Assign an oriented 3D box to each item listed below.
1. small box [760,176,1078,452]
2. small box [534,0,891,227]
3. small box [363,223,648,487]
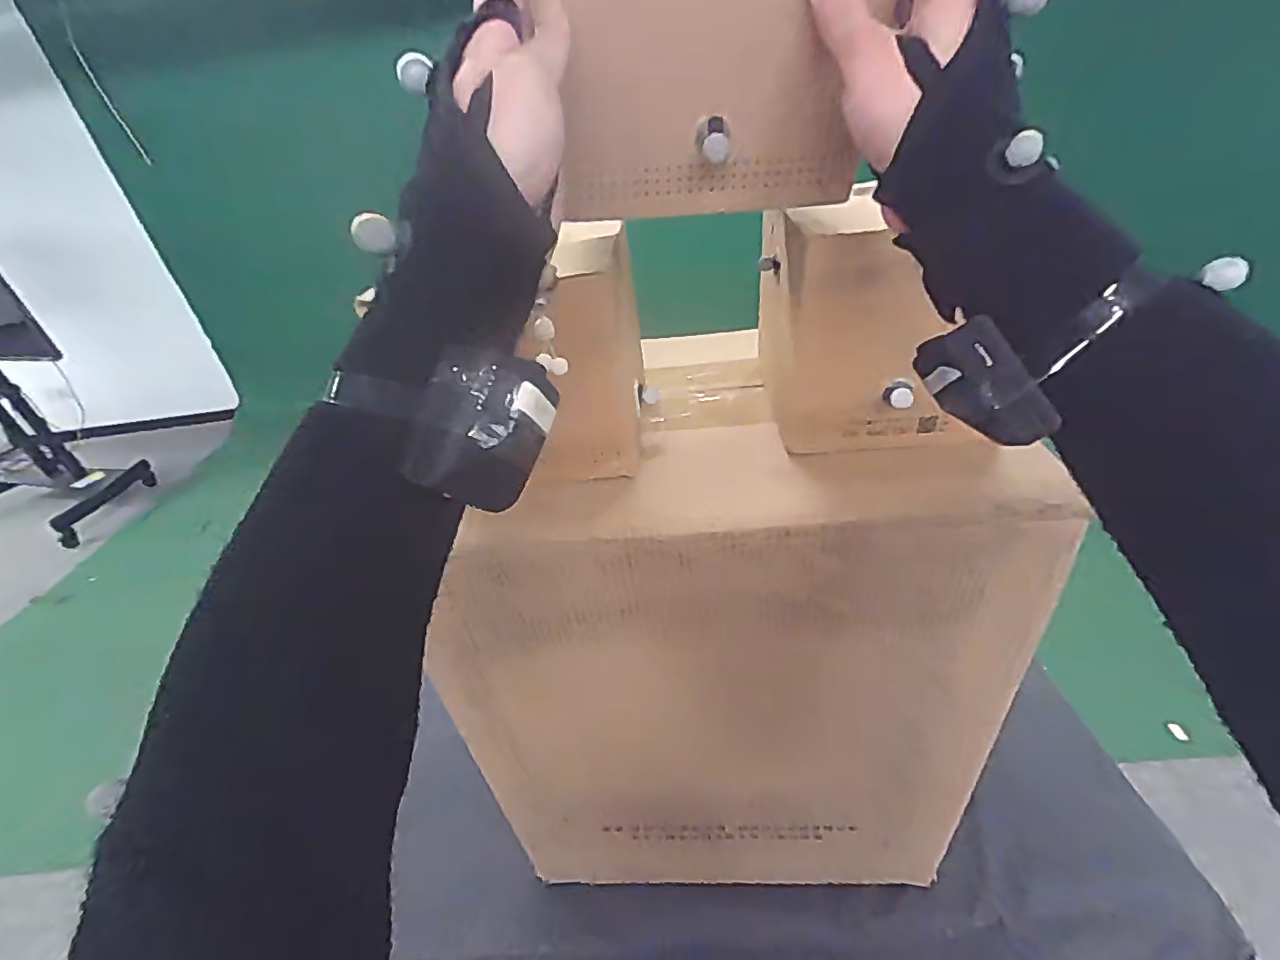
[{"bbox_3d":[0.196,-0.140,0.450,0.168,0.176,0.179,-3,38,4],"label":"small box"},{"bbox_3d":[0.032,-0.269,0.320,0.179,0.176,0.168,-5,48,-2],"label":"small box"},{"bbox_3d":[-0.090,-0.106,0.464,0.179,0.176,0.168,-3,38,4],"label":"small box"}]
